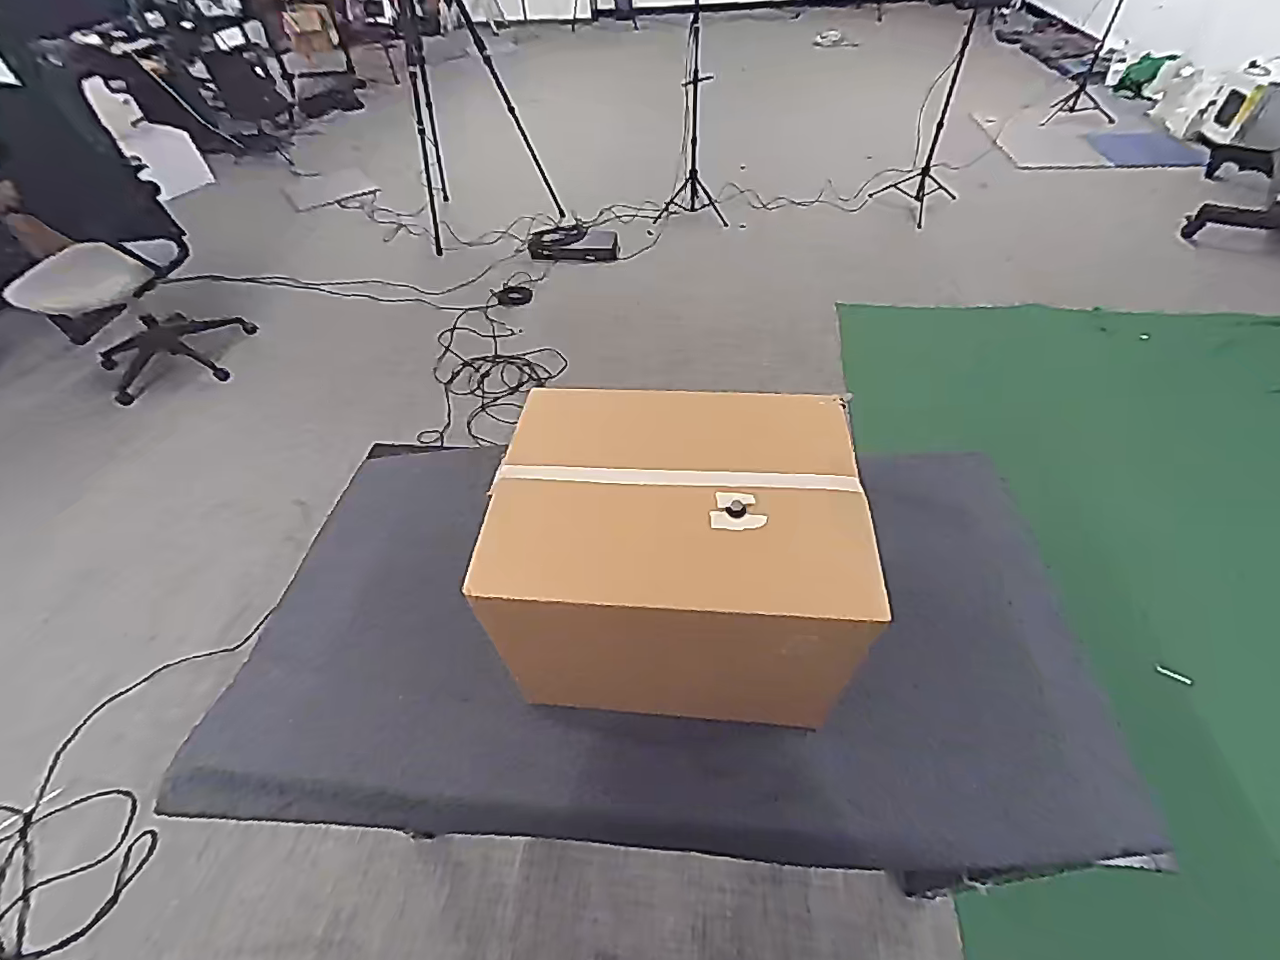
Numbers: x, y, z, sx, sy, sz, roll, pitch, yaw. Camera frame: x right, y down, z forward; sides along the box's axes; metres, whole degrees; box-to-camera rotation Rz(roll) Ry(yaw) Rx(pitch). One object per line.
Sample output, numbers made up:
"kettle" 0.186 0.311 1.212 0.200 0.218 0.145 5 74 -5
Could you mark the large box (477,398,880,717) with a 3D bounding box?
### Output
"large box" 0.047 0.106 0.733 0.408 0.320 0.320 2 50 5
